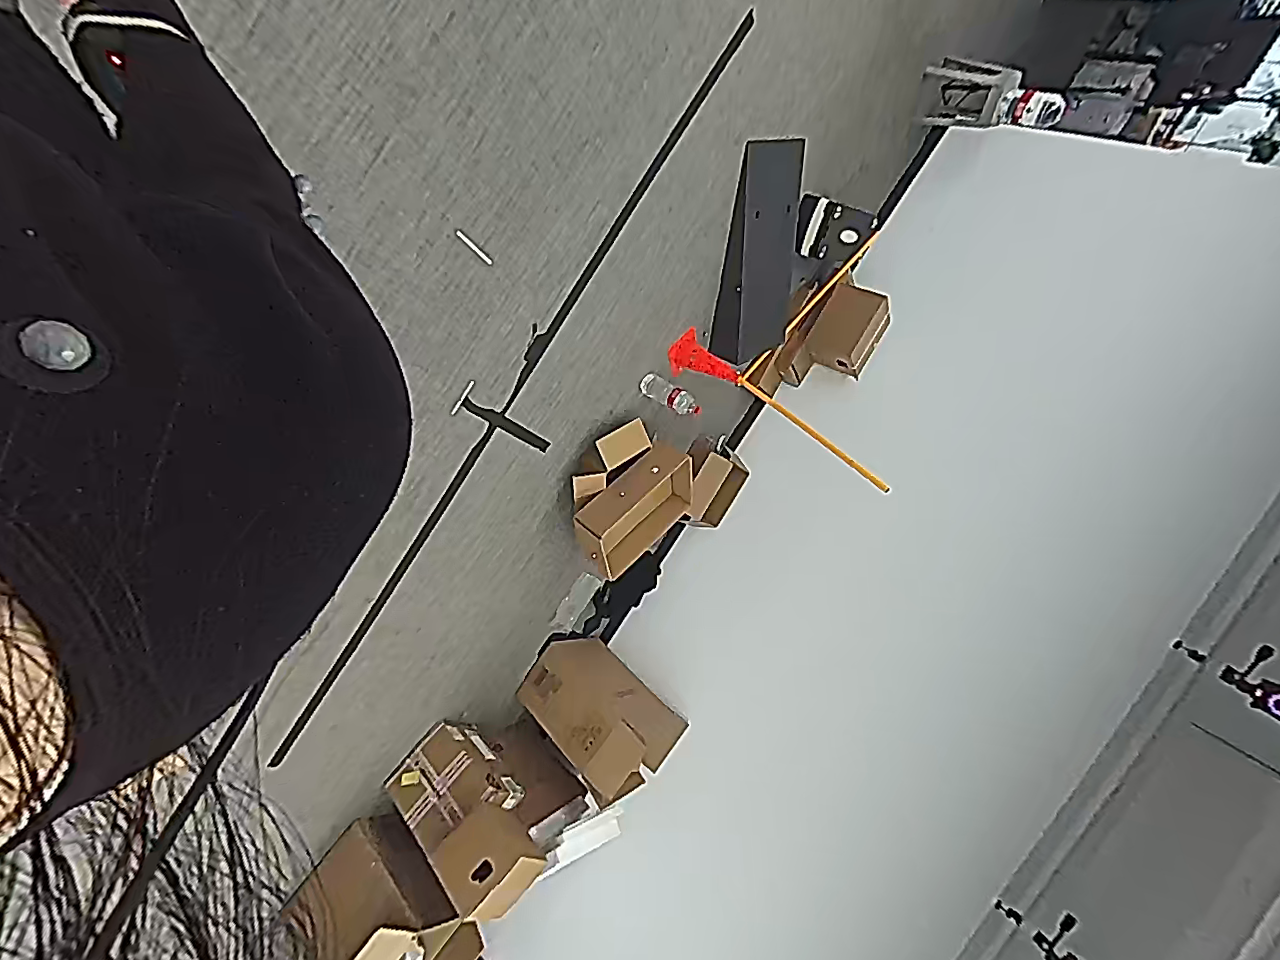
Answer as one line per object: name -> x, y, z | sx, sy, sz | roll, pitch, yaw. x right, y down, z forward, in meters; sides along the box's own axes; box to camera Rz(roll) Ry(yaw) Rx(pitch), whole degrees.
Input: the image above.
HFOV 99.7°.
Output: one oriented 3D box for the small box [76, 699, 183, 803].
small box -> -1.436, 0.751, 1.522 | 0.168, 0.176, 0.179 | -24, 139, -42
